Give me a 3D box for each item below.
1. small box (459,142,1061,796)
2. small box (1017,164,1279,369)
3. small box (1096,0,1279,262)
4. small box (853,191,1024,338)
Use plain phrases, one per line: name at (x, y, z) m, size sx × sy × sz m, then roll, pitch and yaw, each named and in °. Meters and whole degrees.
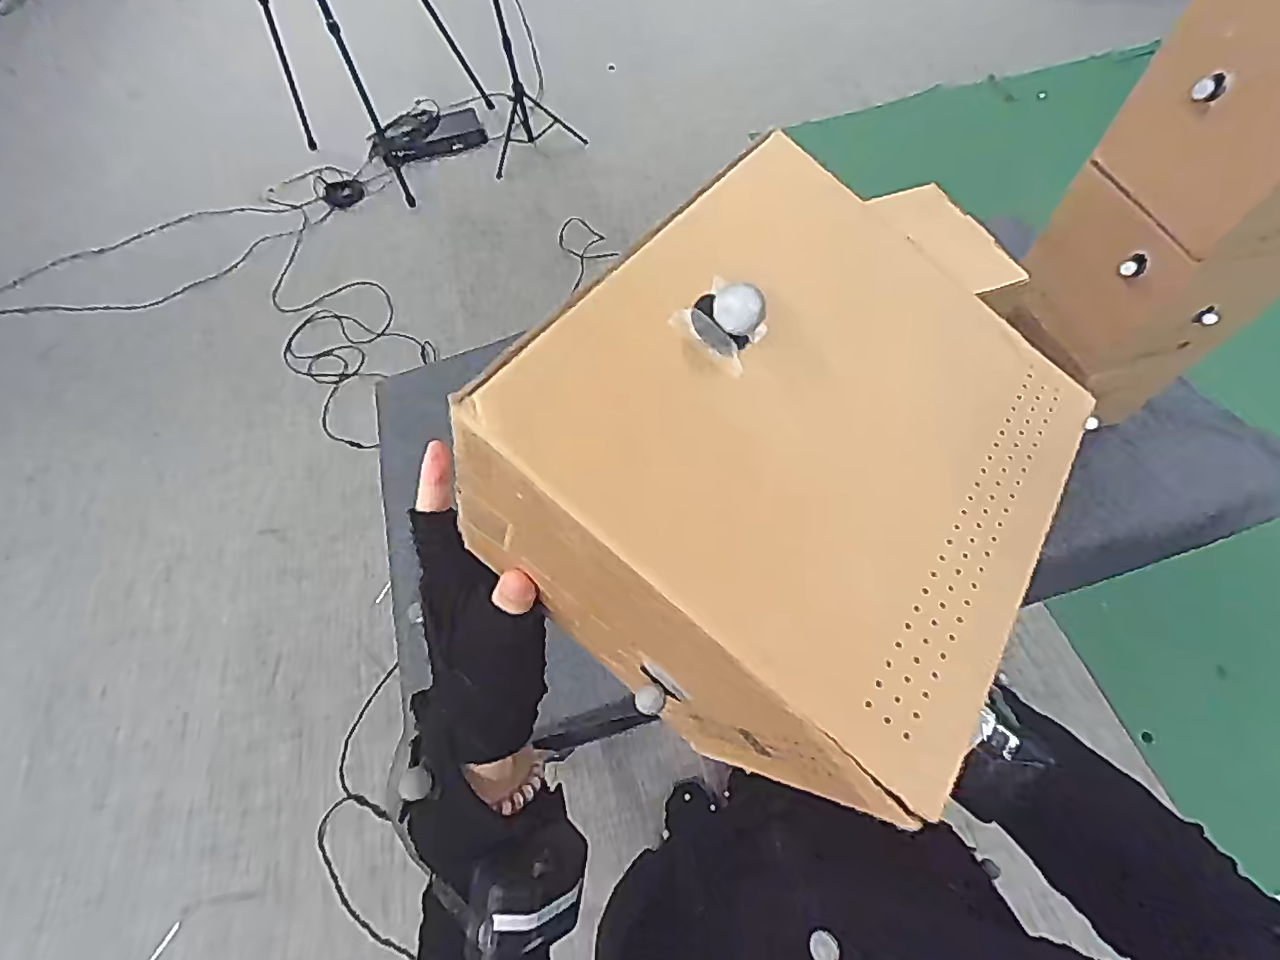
small box at (0.043, 0.000, 0.251) m, size 0.176 × 0.168 × 0.179 m, roll 40°, pitch 65°, yaw 1°
small box at (0.583, -0.247, 0.618) m, size 0.168 × 0.176 × 0.179 m, roll -13°, pitch 60°, yaw -2°
small box at (0.568, -0.325, 0.474) m, size 0.168 × 0.176 × 0.179 m, roll -12°, pitch 60°, yaw -1°
small box at (0.269, -0.185, 0.615) m, size 0.179 × 0.176 × 0.168 m, roll -18°, pitch 60°, yaw -4°
